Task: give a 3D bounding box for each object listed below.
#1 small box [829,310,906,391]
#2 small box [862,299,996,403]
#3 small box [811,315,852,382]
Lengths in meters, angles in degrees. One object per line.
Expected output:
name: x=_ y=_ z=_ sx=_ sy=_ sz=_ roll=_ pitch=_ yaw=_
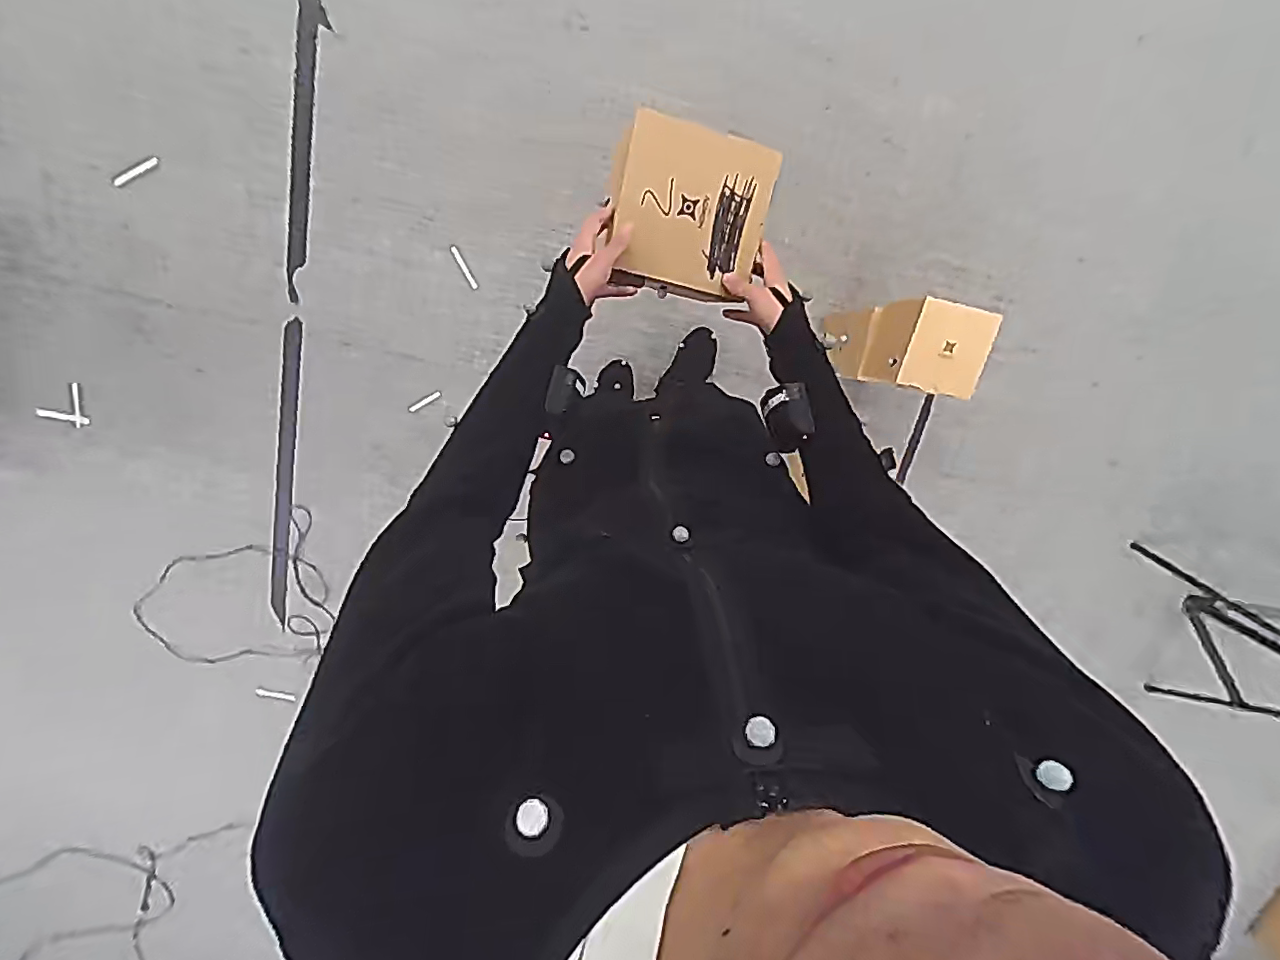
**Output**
small box: x=0.590 y=-0.318 z=1.320 sx=0.179 sy=0.176 sz=0.168 roll=8 pitch=106 yaw=-3
small box: x=0.606 y=-0.279 z=1.162 sx=0.168 sy=0.176 sz=0.179 roll=13 pitch=106 yaw=-5
small box: x=0.592 y=-0.358 z=1.478 sx=0.179 sy=0.176 sz=0.168 roll=7 pitch=107 yaw=-3
